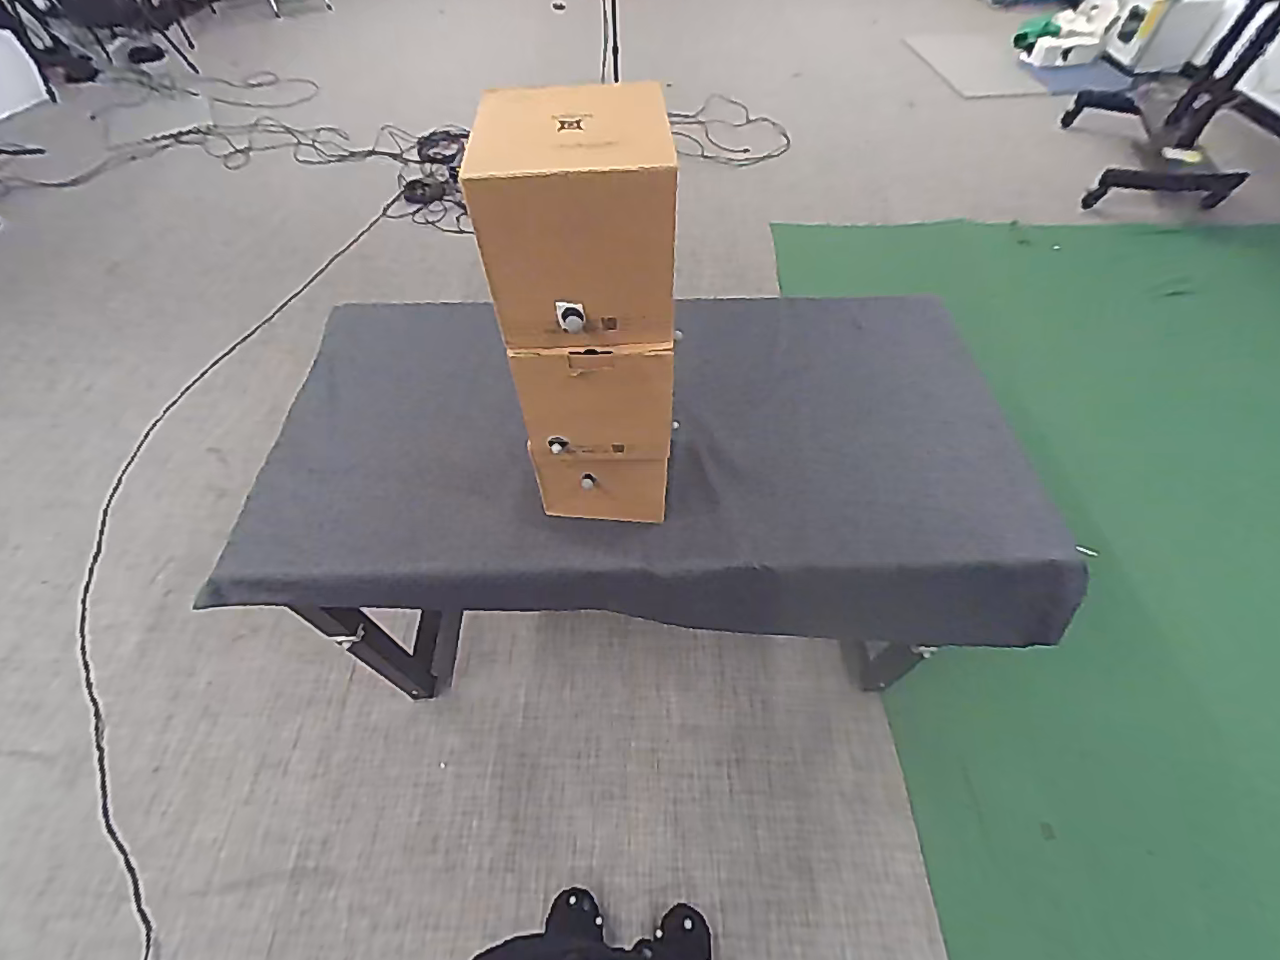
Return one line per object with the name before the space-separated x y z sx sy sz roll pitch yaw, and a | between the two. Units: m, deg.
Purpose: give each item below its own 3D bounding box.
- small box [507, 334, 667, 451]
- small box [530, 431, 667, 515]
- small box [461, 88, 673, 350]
small box | -0.054 -0.146 0.651 0.168 0.176 0.179 -3 55 -1
small box | -0.050 -0.060 0.795 0.179 0.176 0.168 2 53 1
small box | -0.060 -0.250 0.527 0.168 0.176 0.179 -5 55 -1
